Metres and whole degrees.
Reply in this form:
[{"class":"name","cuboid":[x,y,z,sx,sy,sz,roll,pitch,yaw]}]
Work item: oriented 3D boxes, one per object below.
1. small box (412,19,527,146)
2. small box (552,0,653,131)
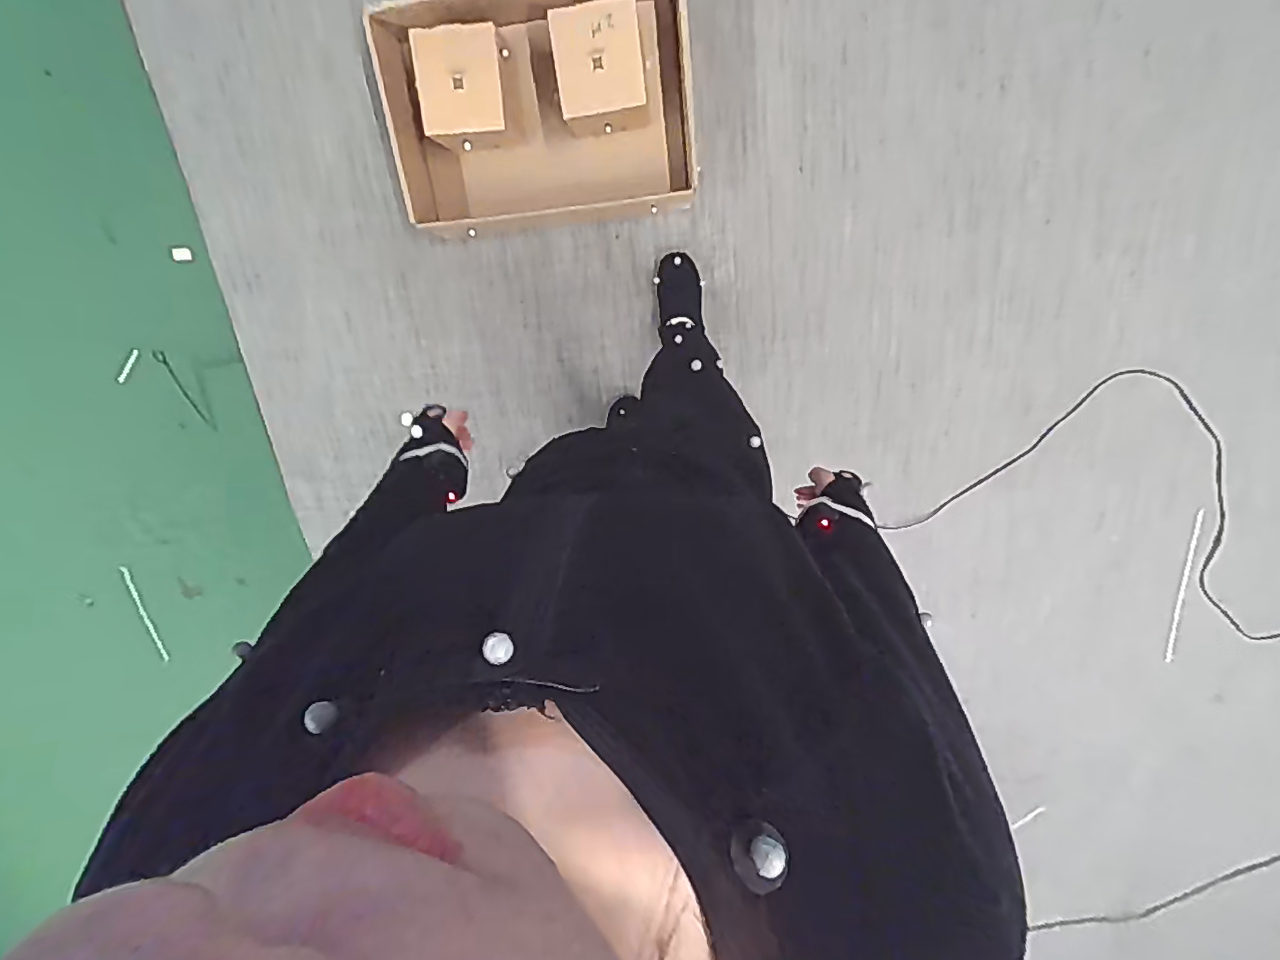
[{"class":"small box","cuboid":[-0.338,-0.800,1.110,0.168,0.176,0.179,-1,110,4]},{"class":"small box","cuboid":[-0.066,-0.819,1.080,0.168,0.176,0.179,-5,111,6]}]
